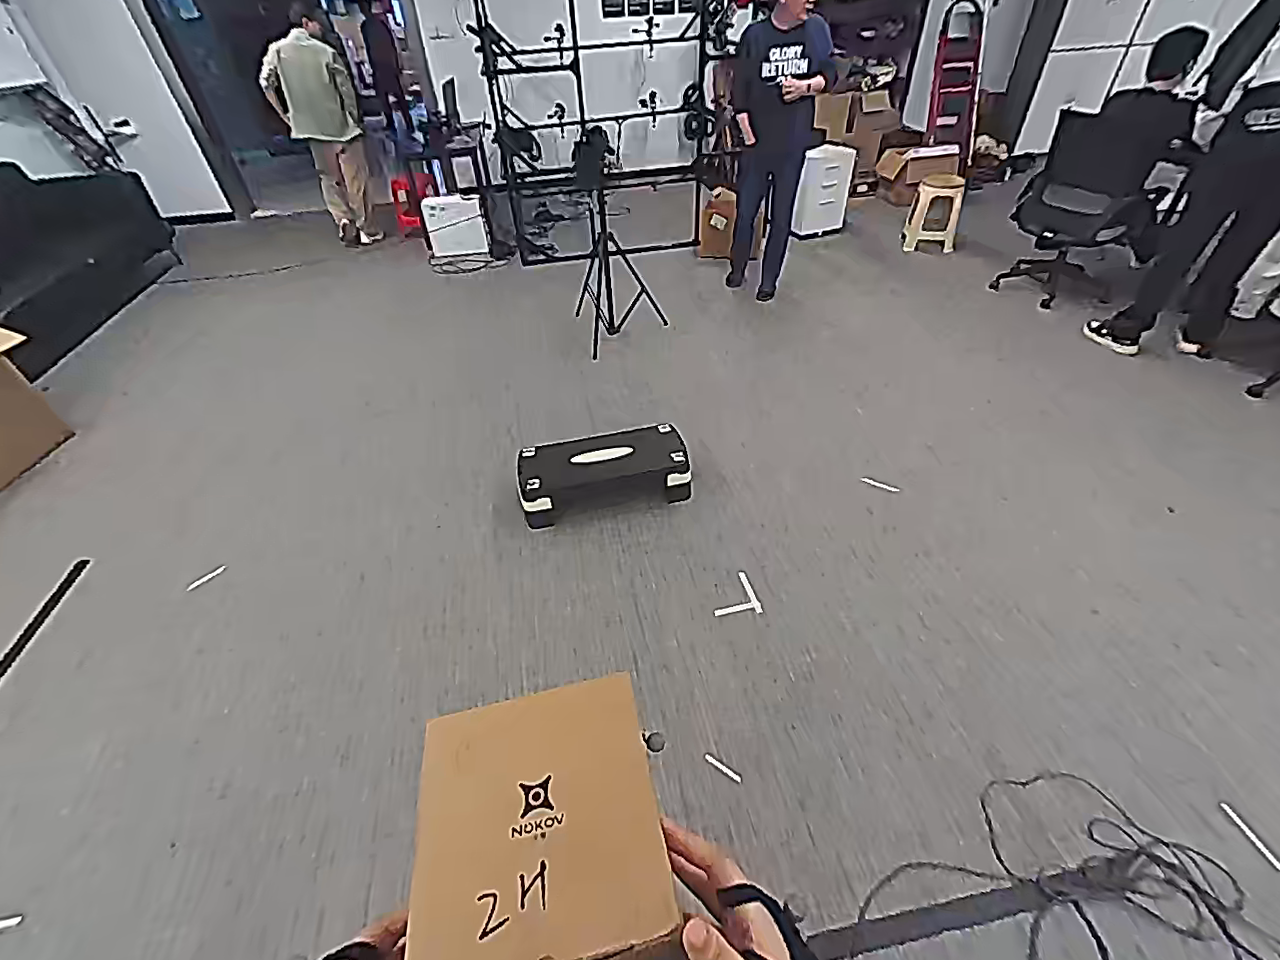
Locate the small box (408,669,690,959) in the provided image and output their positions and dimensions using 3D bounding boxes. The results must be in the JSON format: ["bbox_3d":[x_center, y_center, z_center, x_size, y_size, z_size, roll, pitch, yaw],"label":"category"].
[{"bbox_3d":[-0.062,0.284,0.425,0.168,0.176,0.179,-12,41,-6],"label":"small box"}]

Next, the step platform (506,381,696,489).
[{"bbox_3d":[-0.140,-0.171,2.028,0.684,0.204,0.286,-11,41,-8],"label":"step platform"}]
